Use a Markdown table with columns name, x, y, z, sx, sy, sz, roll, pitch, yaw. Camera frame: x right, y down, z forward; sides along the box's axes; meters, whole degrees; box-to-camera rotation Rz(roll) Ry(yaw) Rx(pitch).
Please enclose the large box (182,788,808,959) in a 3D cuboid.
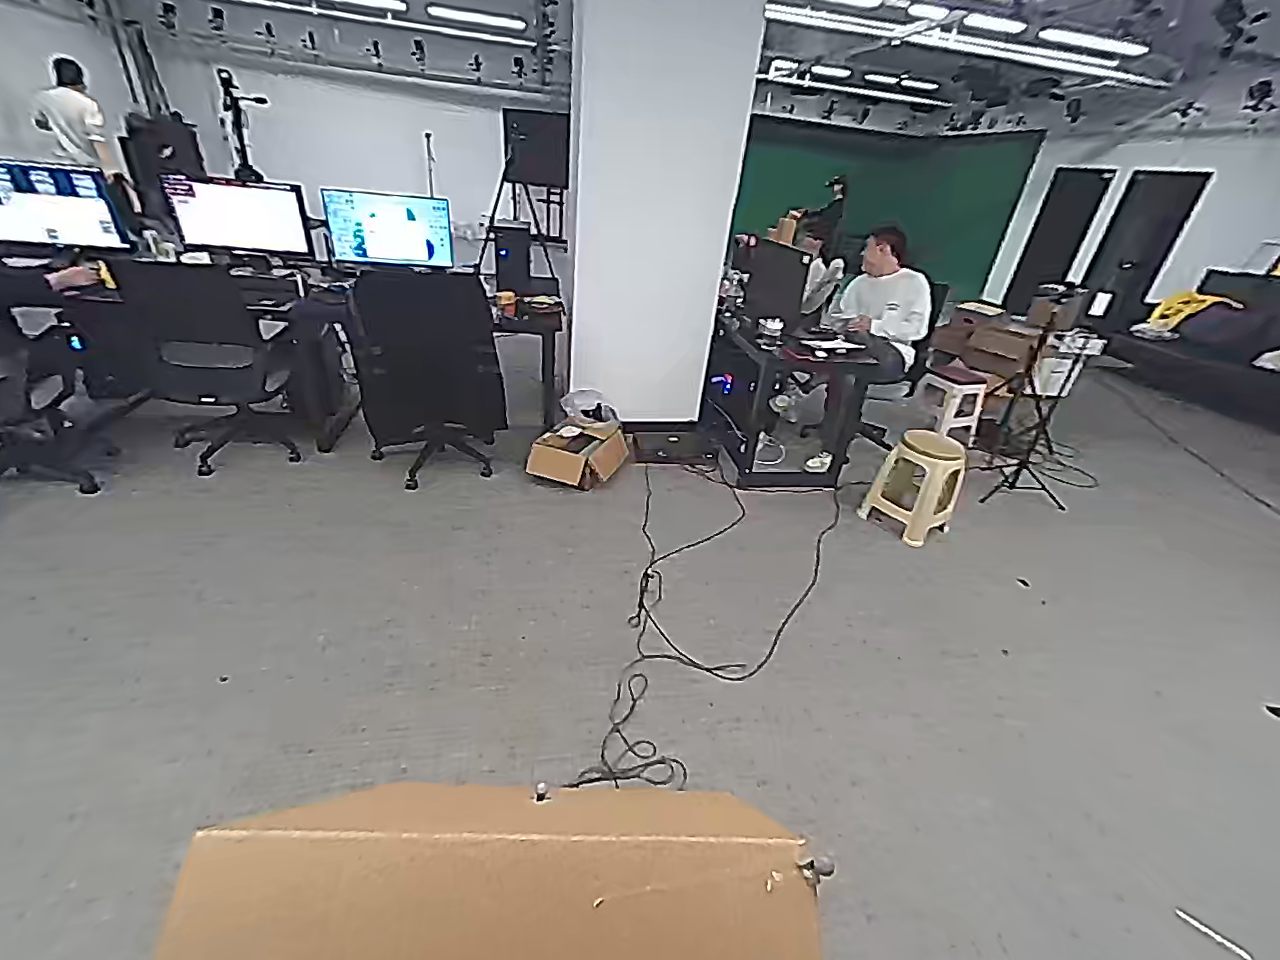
| name | x | y | z | sx | sy | sz | roll | pitch | yaw |
| --- | --- | --- | --- | --- | --- | --- | --- | --- | --- |
| large box | -0.096 | 0.442 | 0.443 | 0.408 | 0.320 | 0.320 | 1 | 66 | -2 |
